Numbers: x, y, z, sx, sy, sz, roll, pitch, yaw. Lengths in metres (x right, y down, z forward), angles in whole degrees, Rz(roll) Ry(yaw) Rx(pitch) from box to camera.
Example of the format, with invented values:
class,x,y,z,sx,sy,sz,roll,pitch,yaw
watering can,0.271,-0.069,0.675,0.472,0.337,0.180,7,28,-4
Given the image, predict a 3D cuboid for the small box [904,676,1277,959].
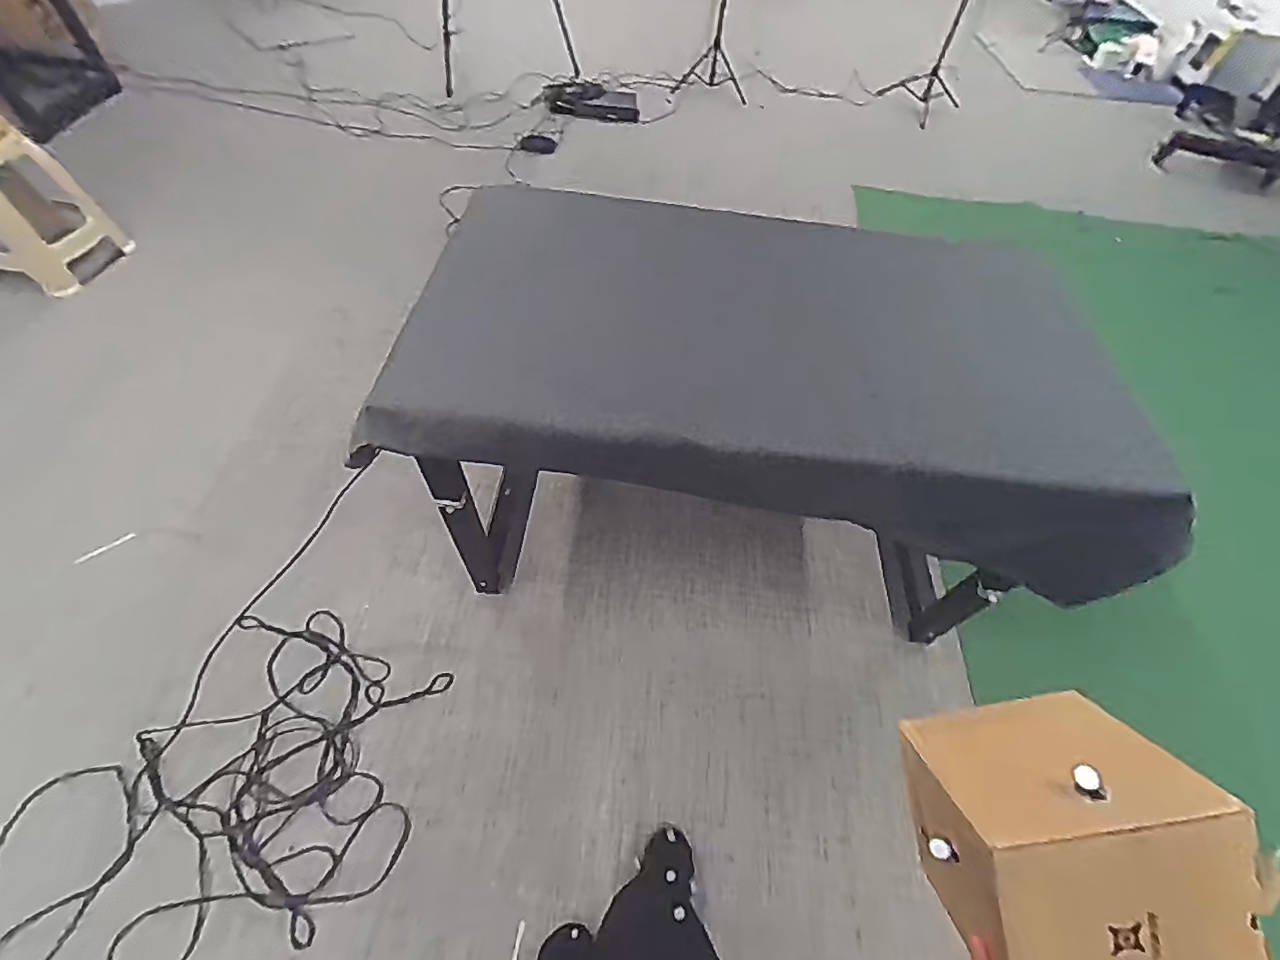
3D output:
class,x,y,z,sx,sy,sz,roll,pitch,yaw
small box,0.344,0.288,0.453,0.179,0.176,0.168,-13,95,4
